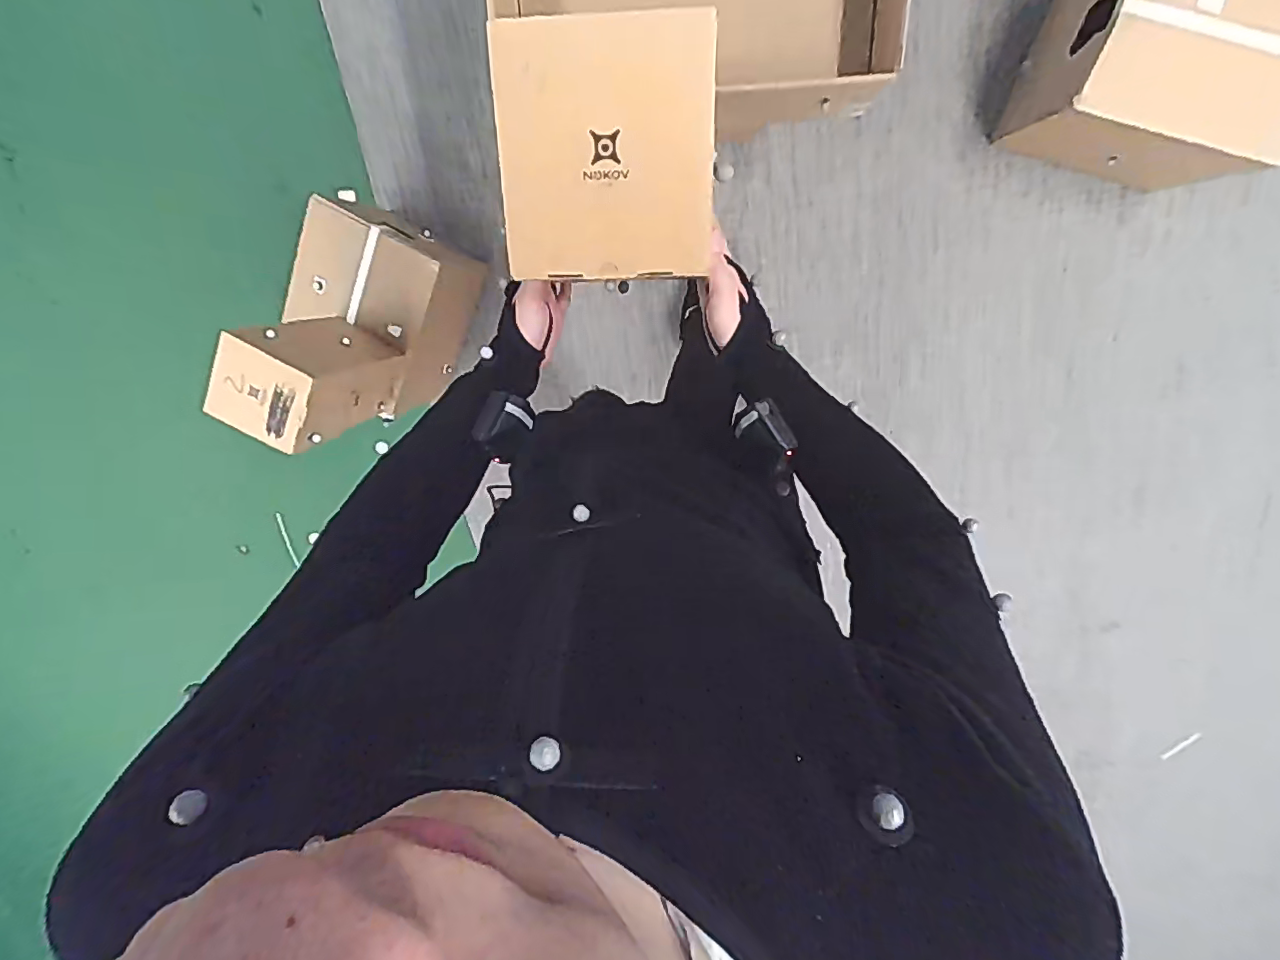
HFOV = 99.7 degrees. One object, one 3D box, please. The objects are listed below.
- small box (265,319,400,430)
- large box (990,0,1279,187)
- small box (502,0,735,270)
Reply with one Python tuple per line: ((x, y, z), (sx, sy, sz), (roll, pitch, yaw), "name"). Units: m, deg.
((-0.665, -0.240, 1.188), (0.179, 0.176, 0.168), (30, 109, -6), "small box")
((1.027, -0.812, 1.072), (0.408, 0.320, 0.320), (16, 111, 1), "large box")
((-0.011, -0.282, 0.477), (0.168, 0.176, 0.179), (0, 112, 4), "small box")
